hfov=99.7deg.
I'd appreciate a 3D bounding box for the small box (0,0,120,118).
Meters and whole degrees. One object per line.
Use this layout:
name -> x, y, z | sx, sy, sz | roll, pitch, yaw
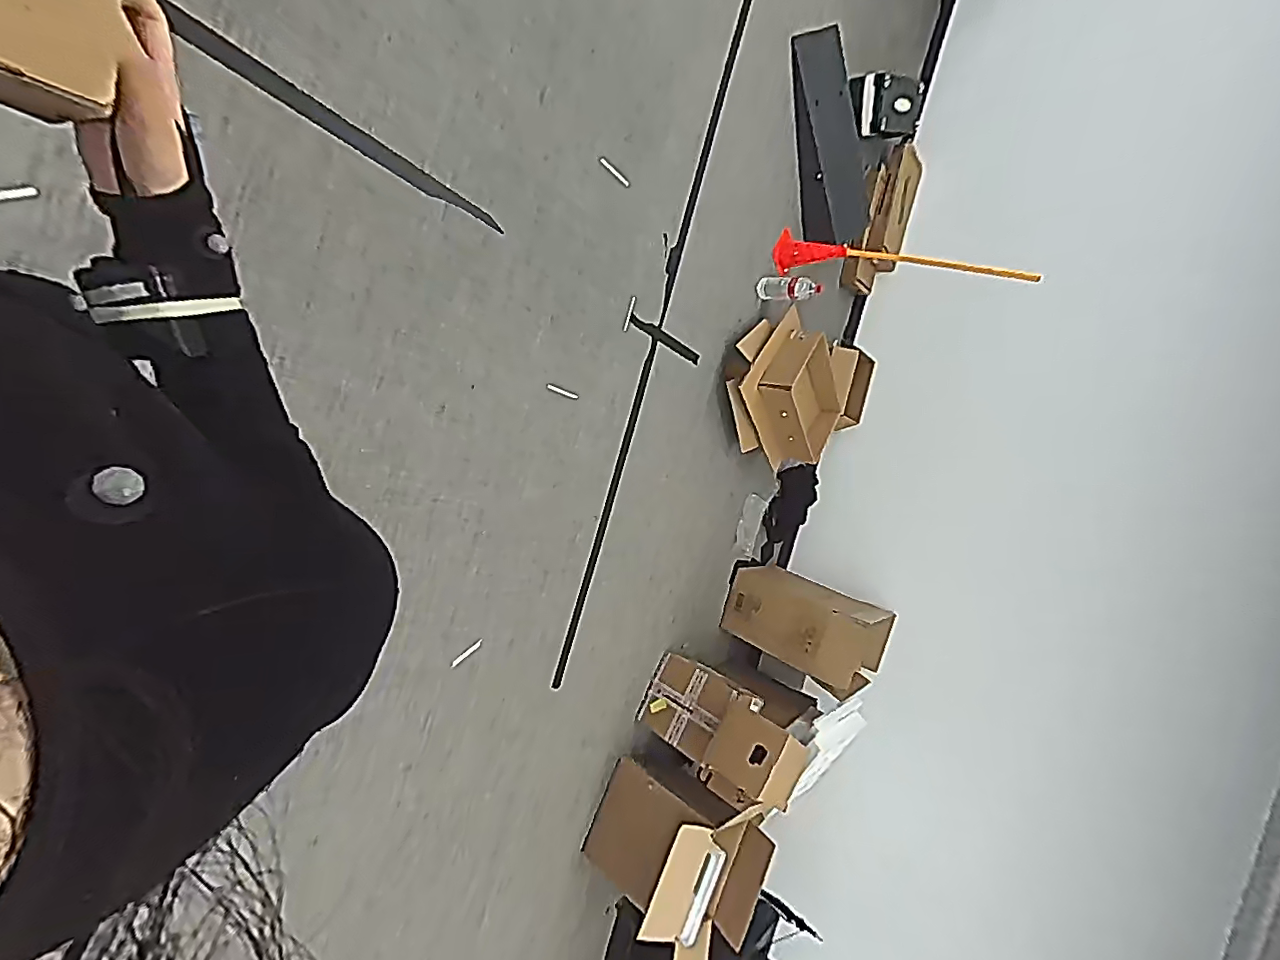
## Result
small box -> -0.356, -0.294, 0.241 | 0.168, 0.176, 0.179 | 0, 110, -54
